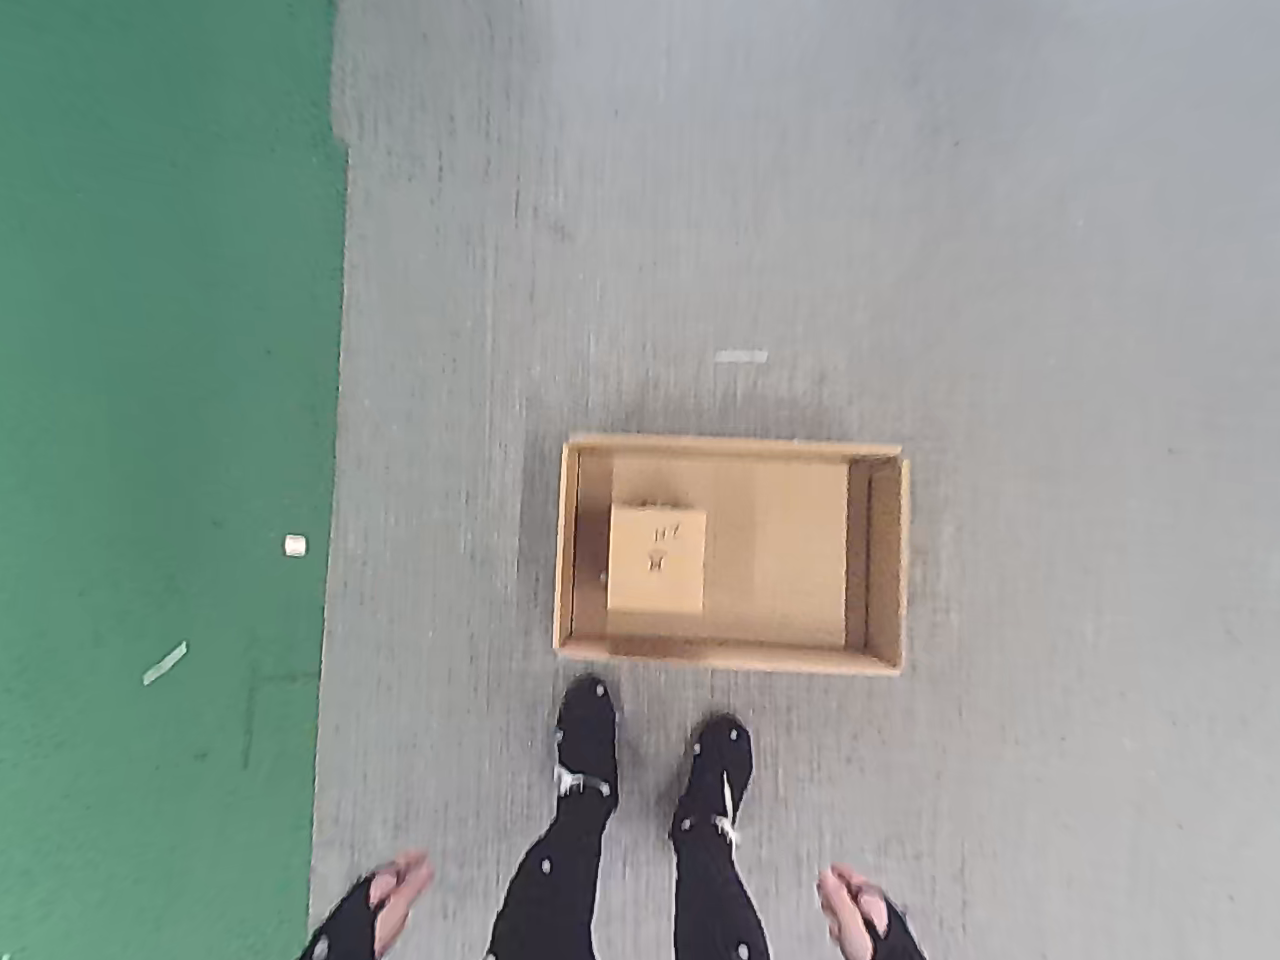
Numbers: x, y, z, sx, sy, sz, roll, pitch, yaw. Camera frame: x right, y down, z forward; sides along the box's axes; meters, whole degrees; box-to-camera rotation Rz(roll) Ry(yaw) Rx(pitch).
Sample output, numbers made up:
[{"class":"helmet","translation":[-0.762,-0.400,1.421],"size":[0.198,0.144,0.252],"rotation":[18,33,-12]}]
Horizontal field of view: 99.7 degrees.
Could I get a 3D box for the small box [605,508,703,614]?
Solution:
[{"class":"small box","translation":[0.027,0.145,1.022],"size":[0.168,0.176,0.179],"rotation":[3,87,0]}]
